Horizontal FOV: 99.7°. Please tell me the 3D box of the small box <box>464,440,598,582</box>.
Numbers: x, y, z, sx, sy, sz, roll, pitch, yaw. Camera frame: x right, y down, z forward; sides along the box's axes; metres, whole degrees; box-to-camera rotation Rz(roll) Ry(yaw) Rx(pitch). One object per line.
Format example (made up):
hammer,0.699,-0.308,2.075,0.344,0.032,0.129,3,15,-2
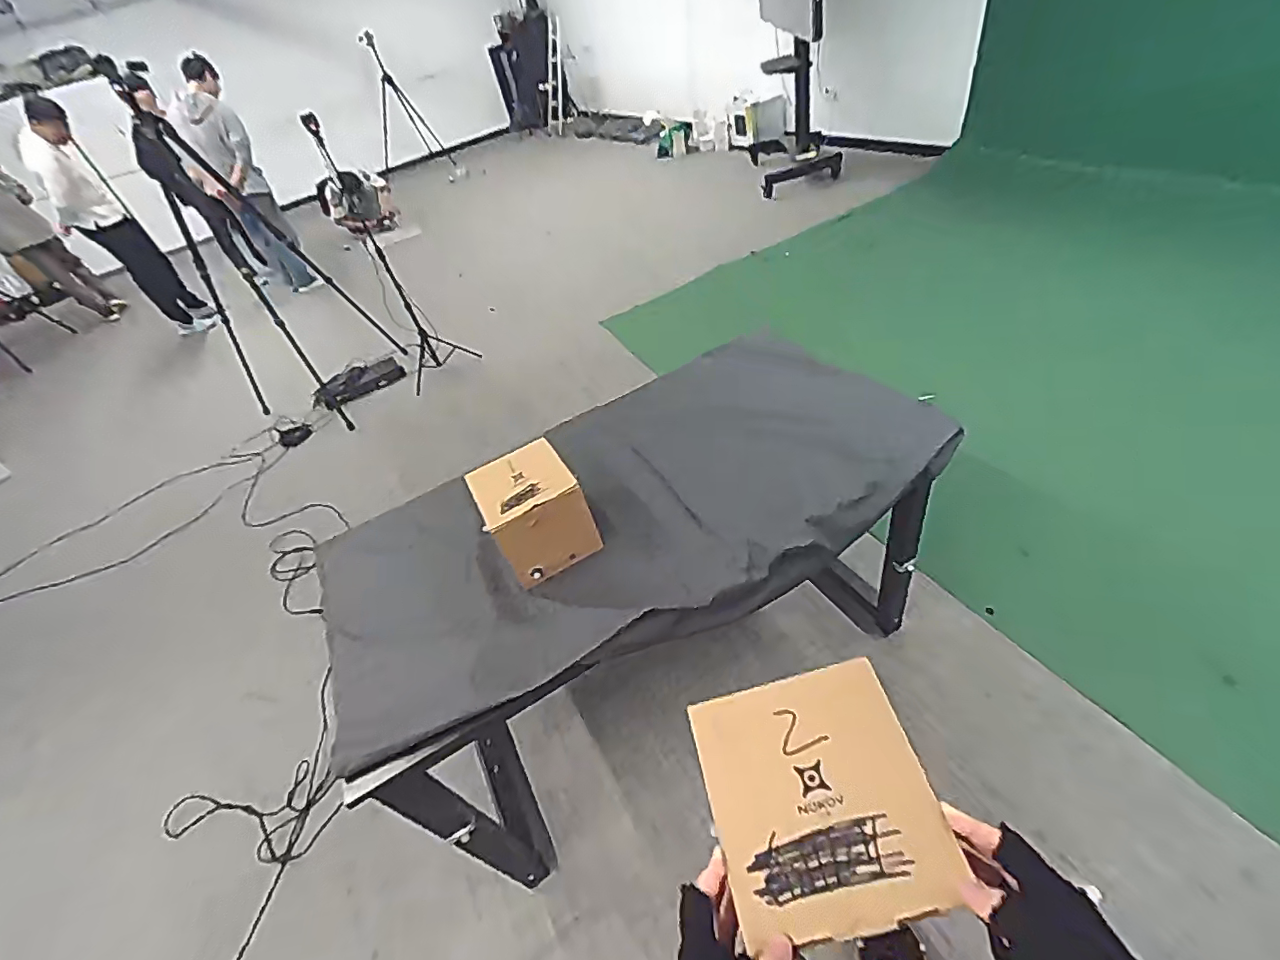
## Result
small box,-0.197,0.063,0.997,0.168,0.176,0.179,-28,43,-13
